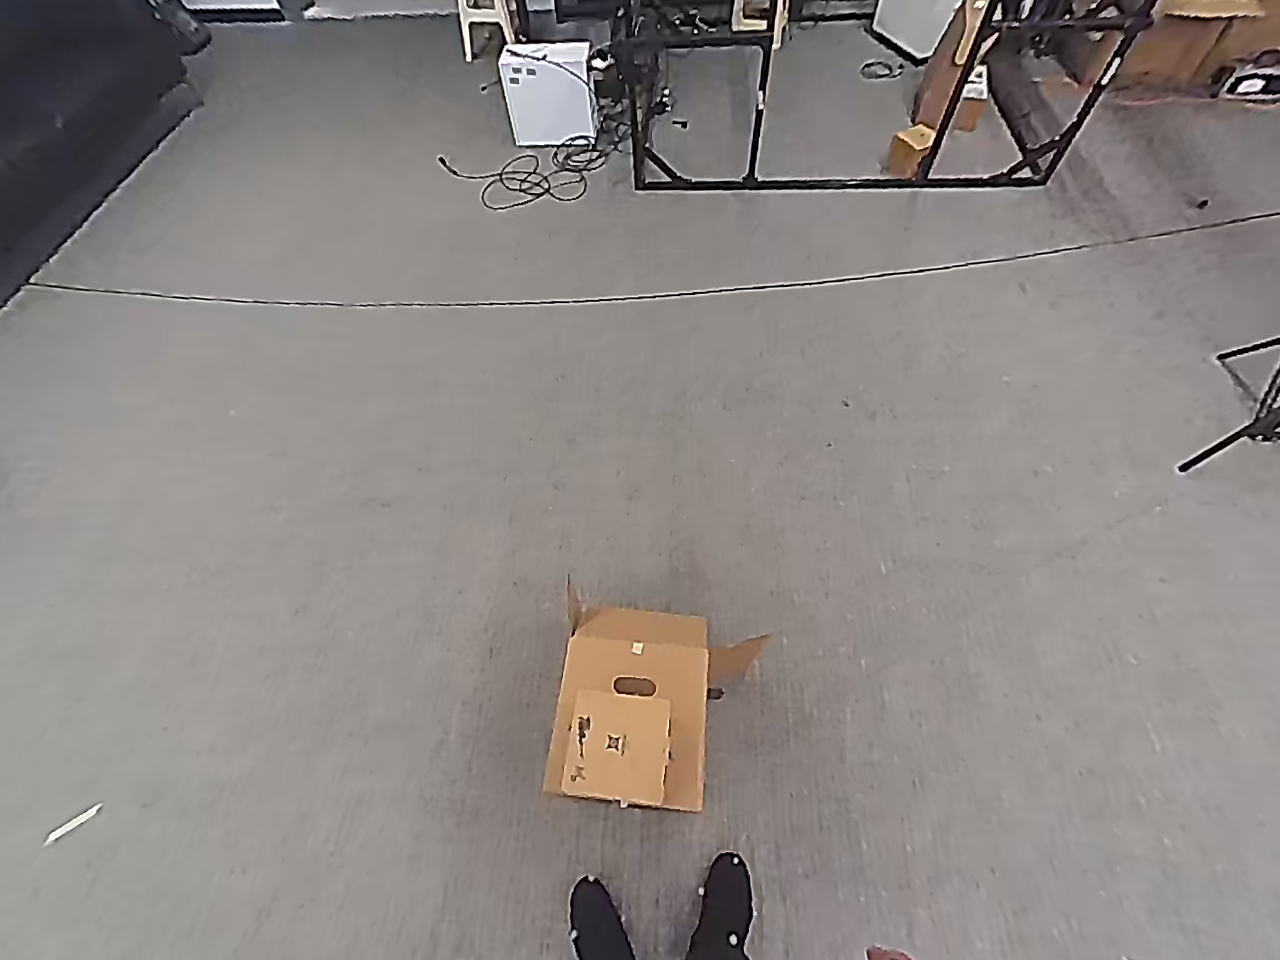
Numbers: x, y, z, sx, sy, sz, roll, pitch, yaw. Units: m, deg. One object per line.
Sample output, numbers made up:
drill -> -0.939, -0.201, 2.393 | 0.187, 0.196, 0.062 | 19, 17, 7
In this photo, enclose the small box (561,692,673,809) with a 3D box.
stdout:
small box -> -0.035, 0.507, 1.014 | 0.179, 0.176, 0.168 | 6, 60, 6
